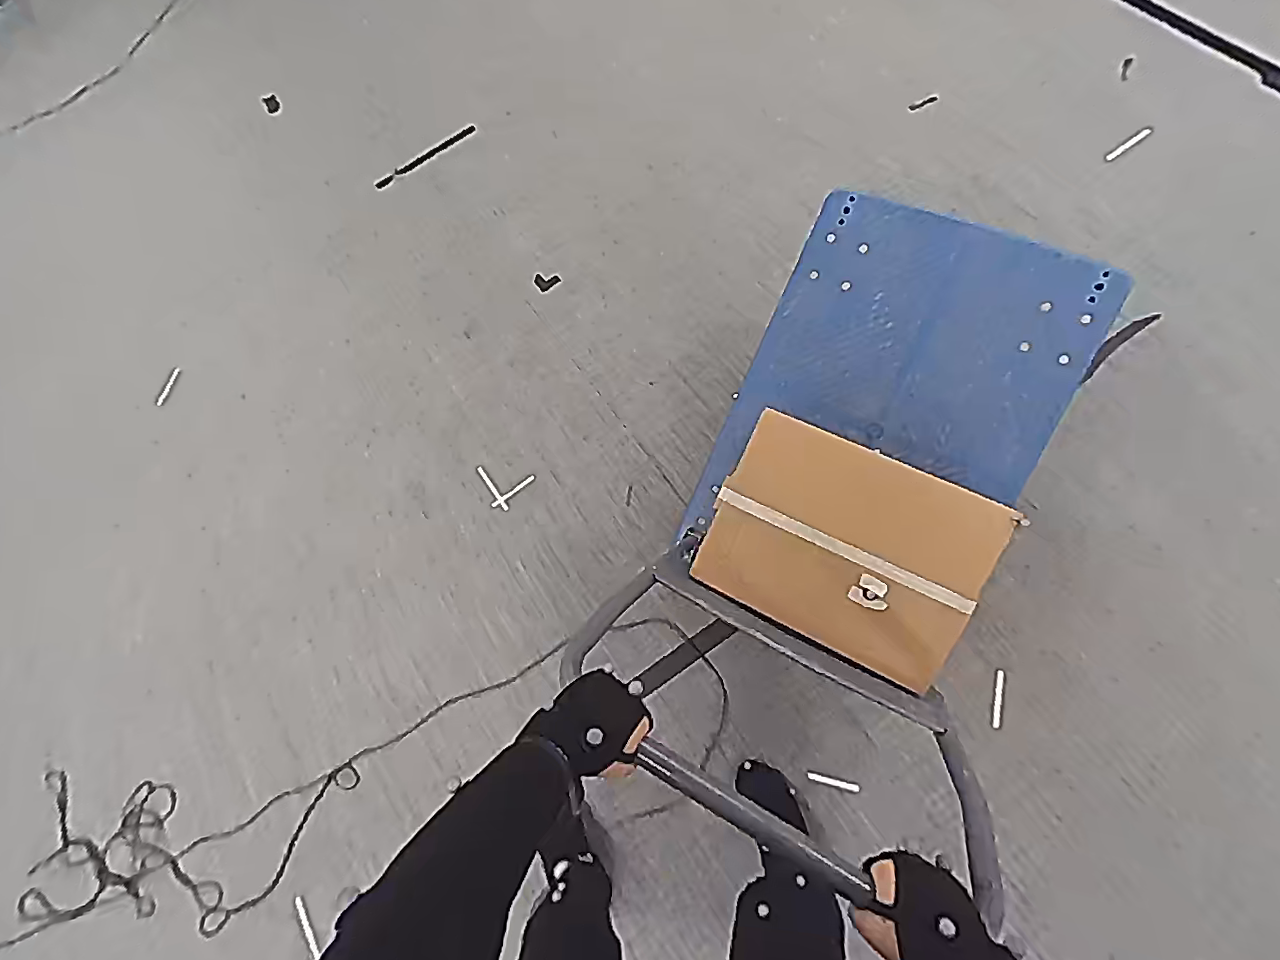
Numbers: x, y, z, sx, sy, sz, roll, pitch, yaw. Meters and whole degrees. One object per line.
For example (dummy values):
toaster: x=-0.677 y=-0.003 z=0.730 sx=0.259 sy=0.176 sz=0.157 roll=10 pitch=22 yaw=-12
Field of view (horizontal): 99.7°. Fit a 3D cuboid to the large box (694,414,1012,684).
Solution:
large box: x=0.363 y=0.101 z=1.013 sx=0.408 sy=0.320 sz=0.320 roll=25 pitch=99 yaw=14
